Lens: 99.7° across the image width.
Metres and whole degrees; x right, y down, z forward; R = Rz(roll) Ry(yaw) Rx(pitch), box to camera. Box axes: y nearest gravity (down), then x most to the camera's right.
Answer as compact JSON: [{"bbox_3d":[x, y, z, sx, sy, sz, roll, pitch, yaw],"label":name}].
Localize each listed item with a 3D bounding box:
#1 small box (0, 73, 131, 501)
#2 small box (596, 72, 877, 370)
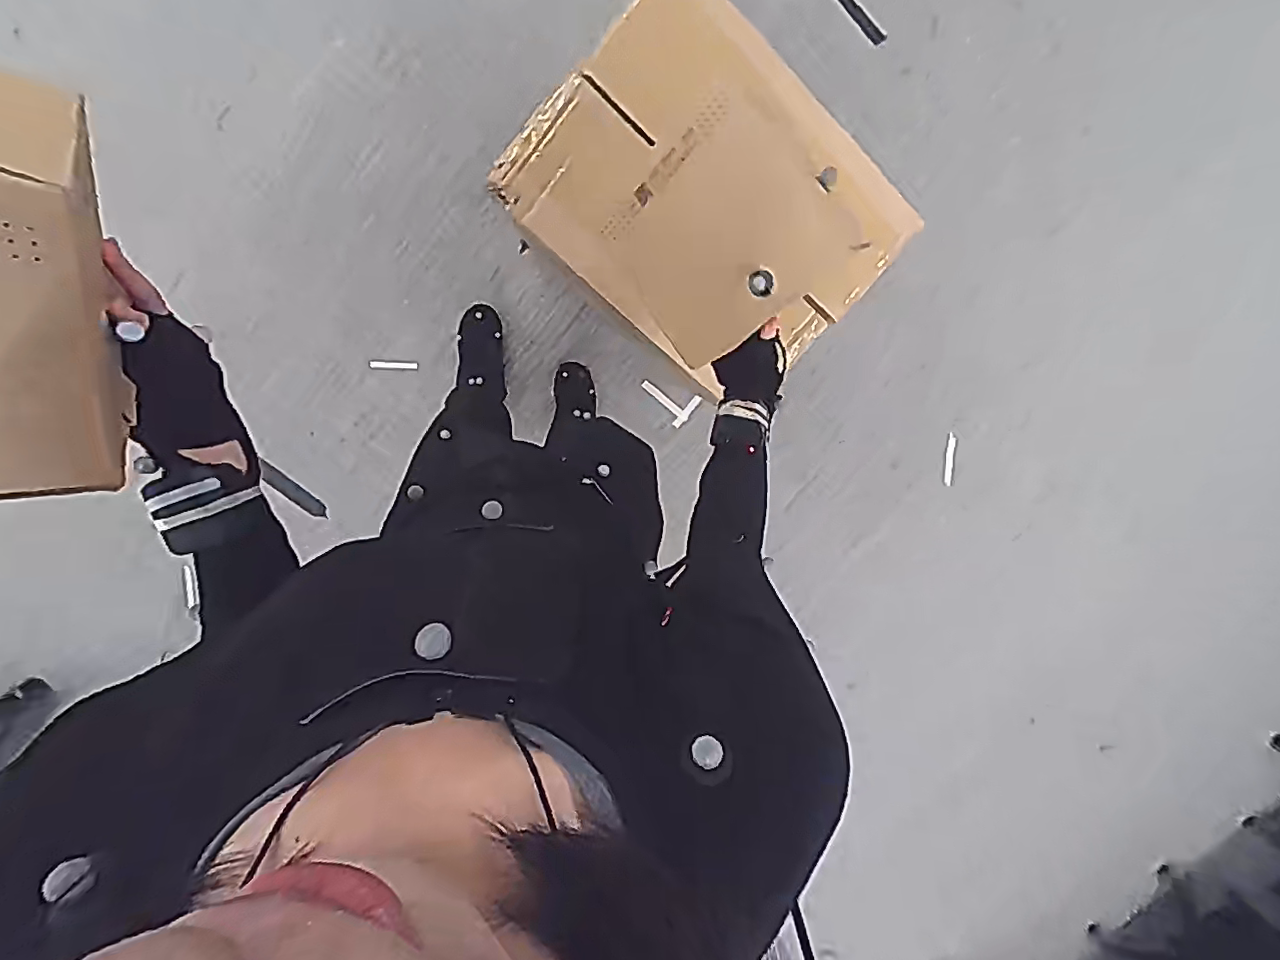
[{"bbox_3d":[-0.369,-0.101,0.250,0.179,0.168,0.176,-6,133,-40],"label":"small box"},{"bbox_3d":[0.094,-0.236,0.508,0.168,0.179,0.176,-33,96,39],"label":"small box"}]
